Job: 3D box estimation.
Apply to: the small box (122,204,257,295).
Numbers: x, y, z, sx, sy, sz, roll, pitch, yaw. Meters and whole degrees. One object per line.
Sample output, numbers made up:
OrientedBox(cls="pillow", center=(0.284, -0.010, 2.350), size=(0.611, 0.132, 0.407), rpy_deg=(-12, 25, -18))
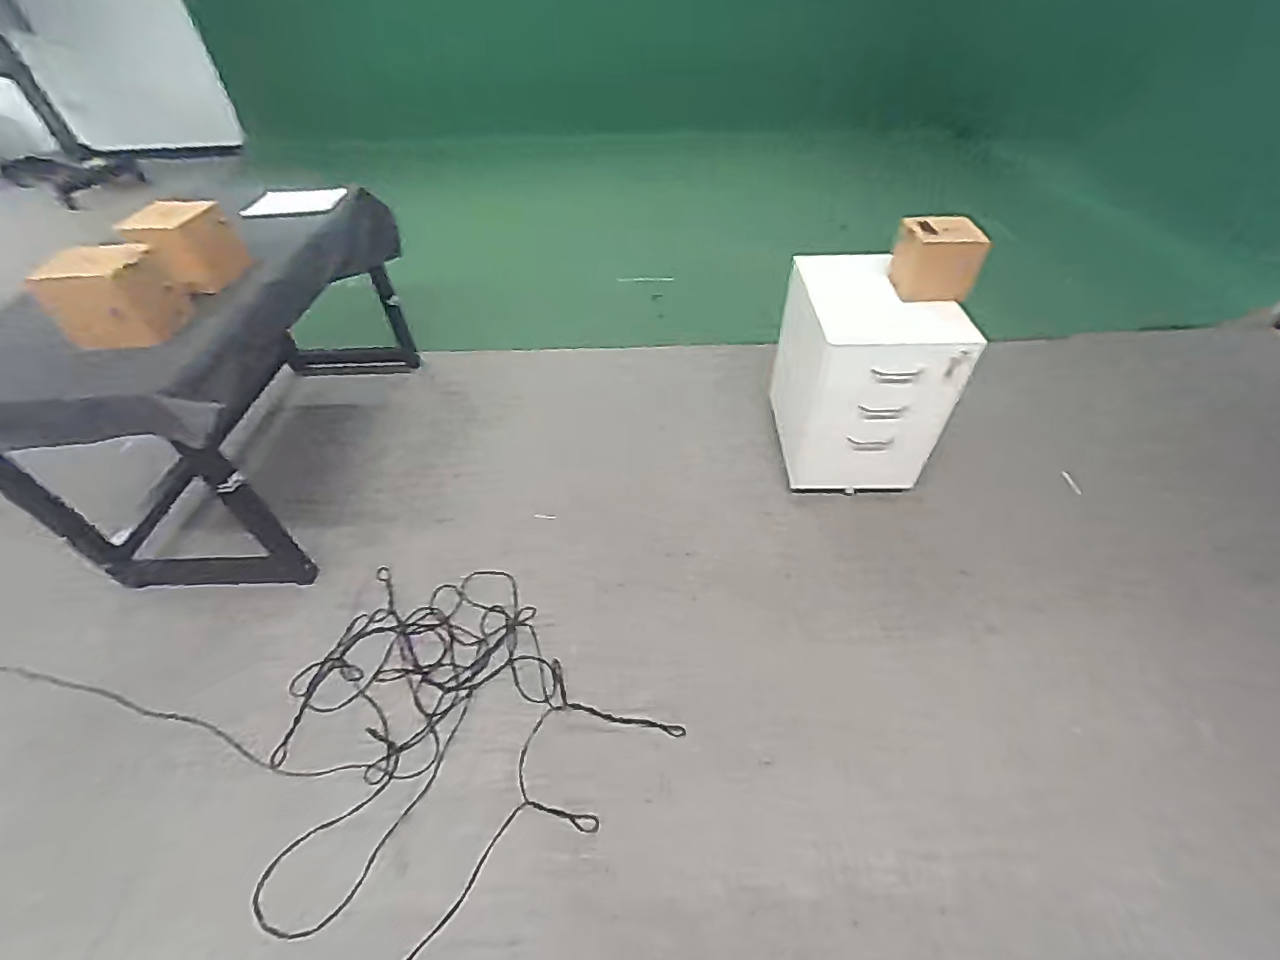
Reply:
OrientedBox(cls="small box", center=(-1.143, -0.590, 1.392), size=(0.168, 0.176, 0.179), rpy_deg=(1, 46, 4))

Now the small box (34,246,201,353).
OrientedBox(cls="small box", center=(-1.150, -0.403, 1.212), size=(0.179, 0.176, 0.168), rpy_deg=(-6, 45, -1))
